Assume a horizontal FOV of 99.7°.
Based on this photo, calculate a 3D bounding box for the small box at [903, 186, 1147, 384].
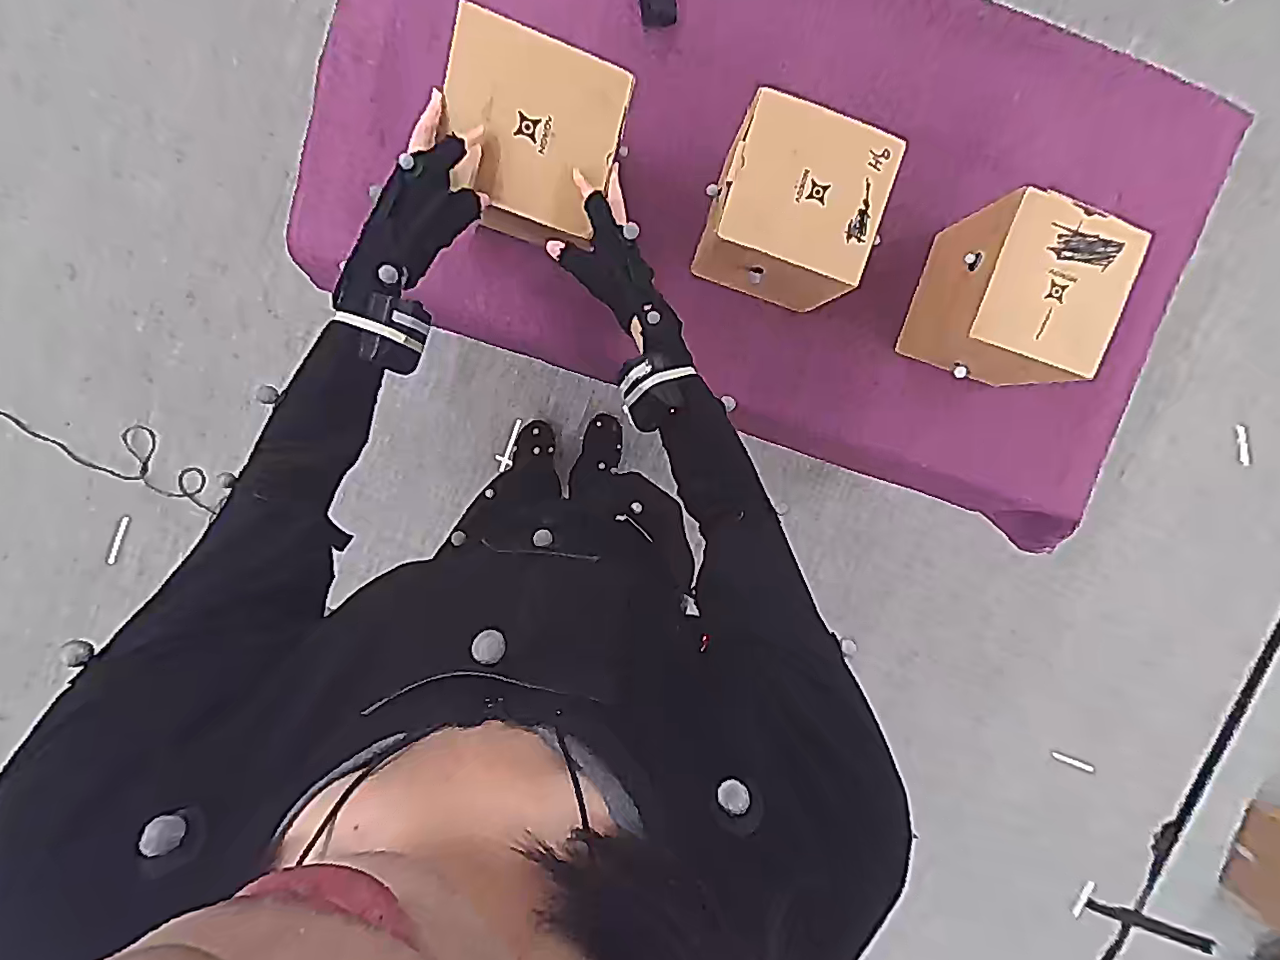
[{"bbox_3d":[0.477,-0.234,0.700,0.168,0.176,0.179,17,96,-5],"label":"small box"}]

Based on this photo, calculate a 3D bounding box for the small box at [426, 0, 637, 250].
[{"bbox_3d":[-0.120,-0.375,0.612,0.179,0.176,0.168,14,102,-12],"label":"small box"}]

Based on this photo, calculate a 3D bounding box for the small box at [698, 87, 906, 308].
[{"bbox_3d":[0.183,-0.330,0.672,0.179,0.176,0.168,17,95,-4],"label":"small box"}]
